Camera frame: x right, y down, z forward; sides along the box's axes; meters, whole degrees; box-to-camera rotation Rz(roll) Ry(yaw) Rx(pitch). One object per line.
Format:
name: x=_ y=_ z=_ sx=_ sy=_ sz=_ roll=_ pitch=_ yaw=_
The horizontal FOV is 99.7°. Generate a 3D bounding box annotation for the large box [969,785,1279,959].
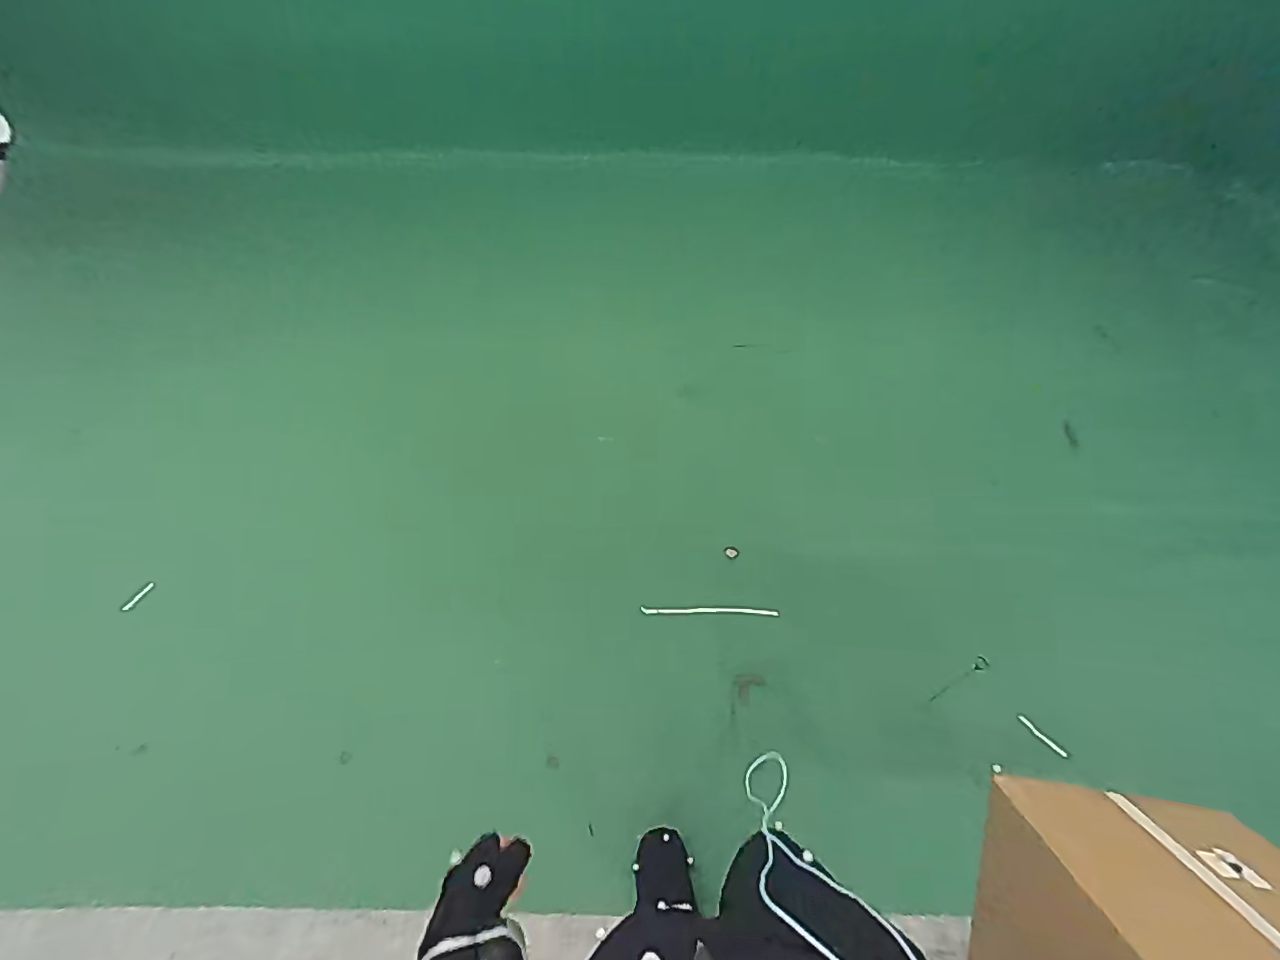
large box: x=0.624 y=0.624 z=0.594 sx=0.320 sy=0.408 sz=0.320 roll=6 pitch=93 yaw=9
